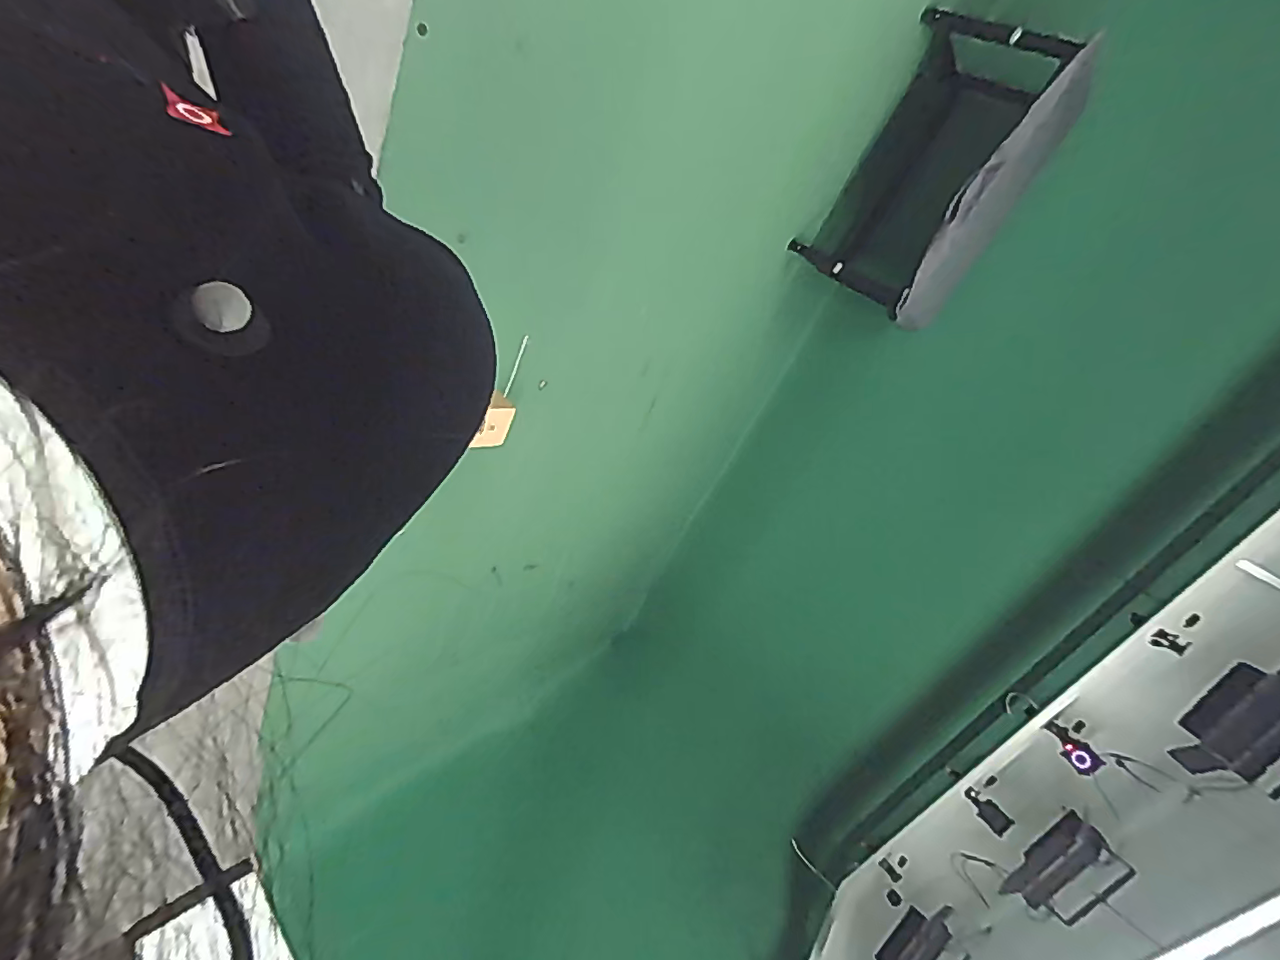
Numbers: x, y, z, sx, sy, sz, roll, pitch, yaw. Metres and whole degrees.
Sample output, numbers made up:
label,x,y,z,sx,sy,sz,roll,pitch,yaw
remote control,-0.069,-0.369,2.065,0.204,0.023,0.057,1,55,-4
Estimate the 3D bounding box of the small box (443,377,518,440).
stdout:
label,x,y,z,sx,sy,sz,roll,pitch,yaw
small box,-0.583,-0.260,1.960,0.179,0.176,0.168,-11,135,-54
